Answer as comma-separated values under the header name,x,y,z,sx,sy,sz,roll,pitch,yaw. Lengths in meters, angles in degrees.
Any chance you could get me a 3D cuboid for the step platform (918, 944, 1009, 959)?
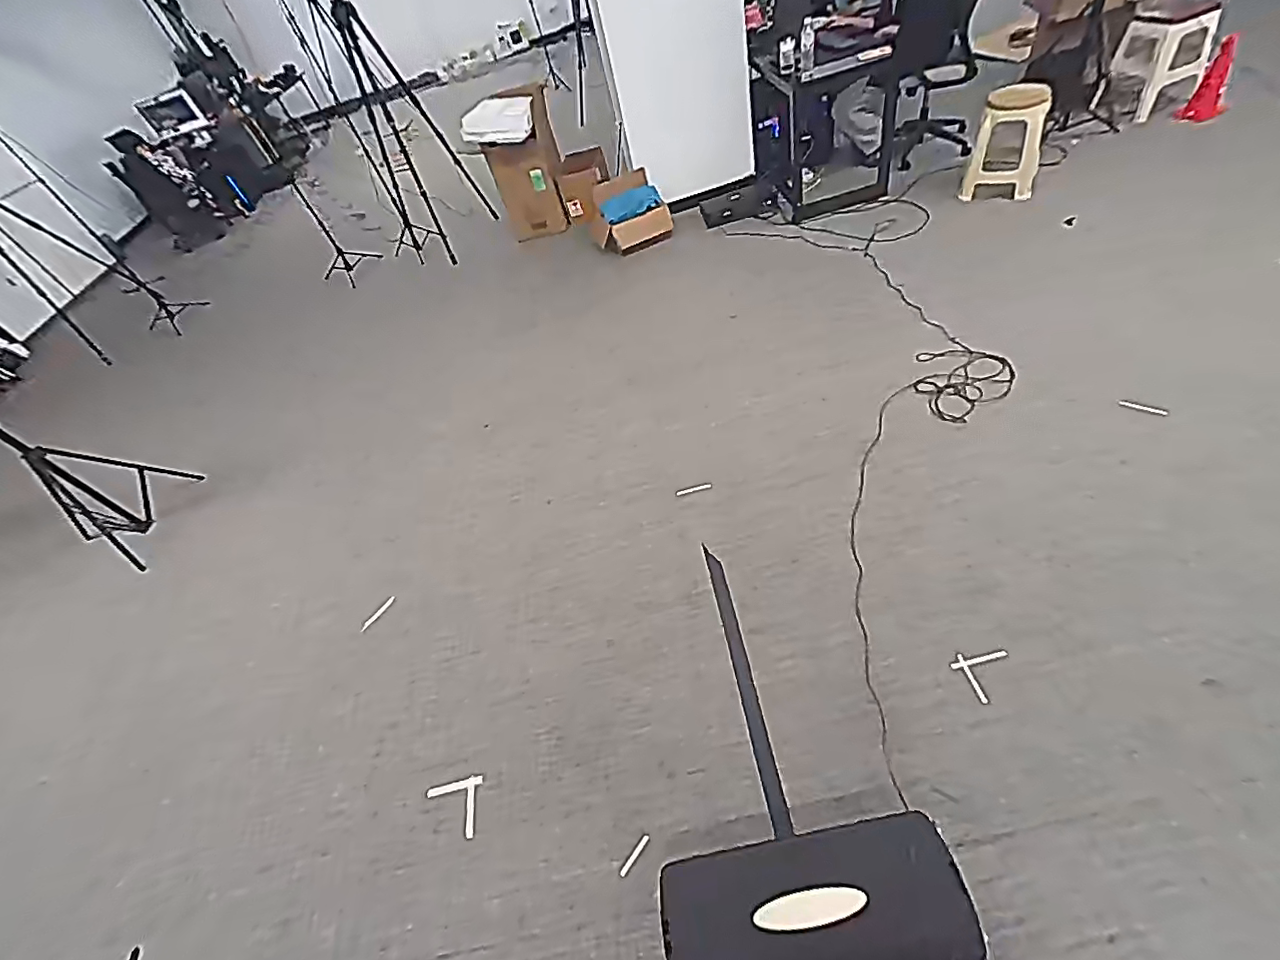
name,x,y,z,sx,sy,sz,roll,pitch,yaw
step platform,0.421,1.113,1.007,0.684,0.204,0.286,-17,46,5
